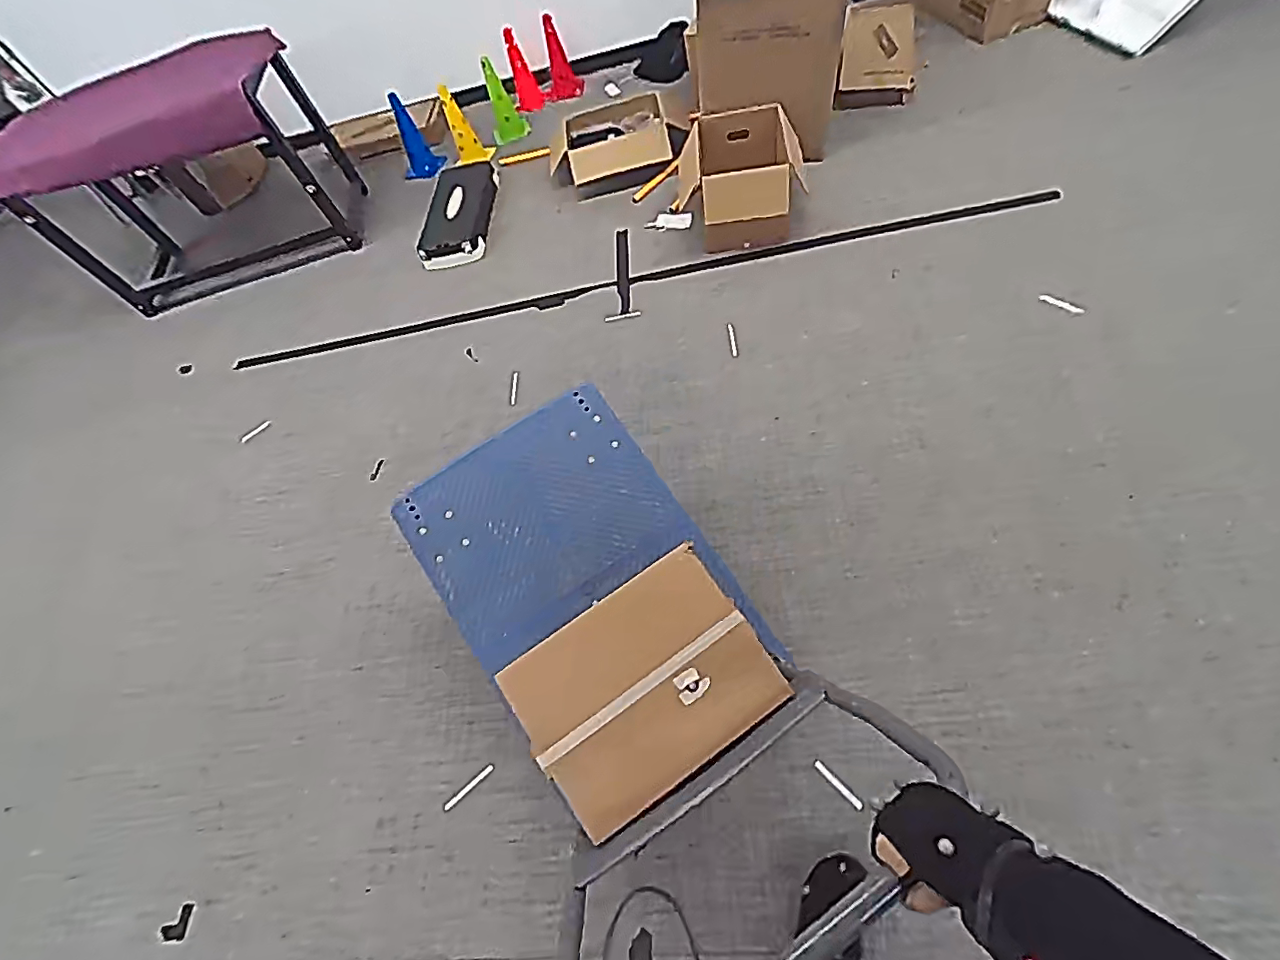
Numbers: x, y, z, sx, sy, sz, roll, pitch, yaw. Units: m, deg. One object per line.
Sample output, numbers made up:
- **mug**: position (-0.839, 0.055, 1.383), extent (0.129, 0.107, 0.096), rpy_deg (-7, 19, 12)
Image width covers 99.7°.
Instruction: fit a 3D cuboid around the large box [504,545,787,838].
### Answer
- **large box**: position (0.007, 0.388, 1.071), extent (0.408, 0.320, 0.320), rpy_deg (-34, 79, -10)
